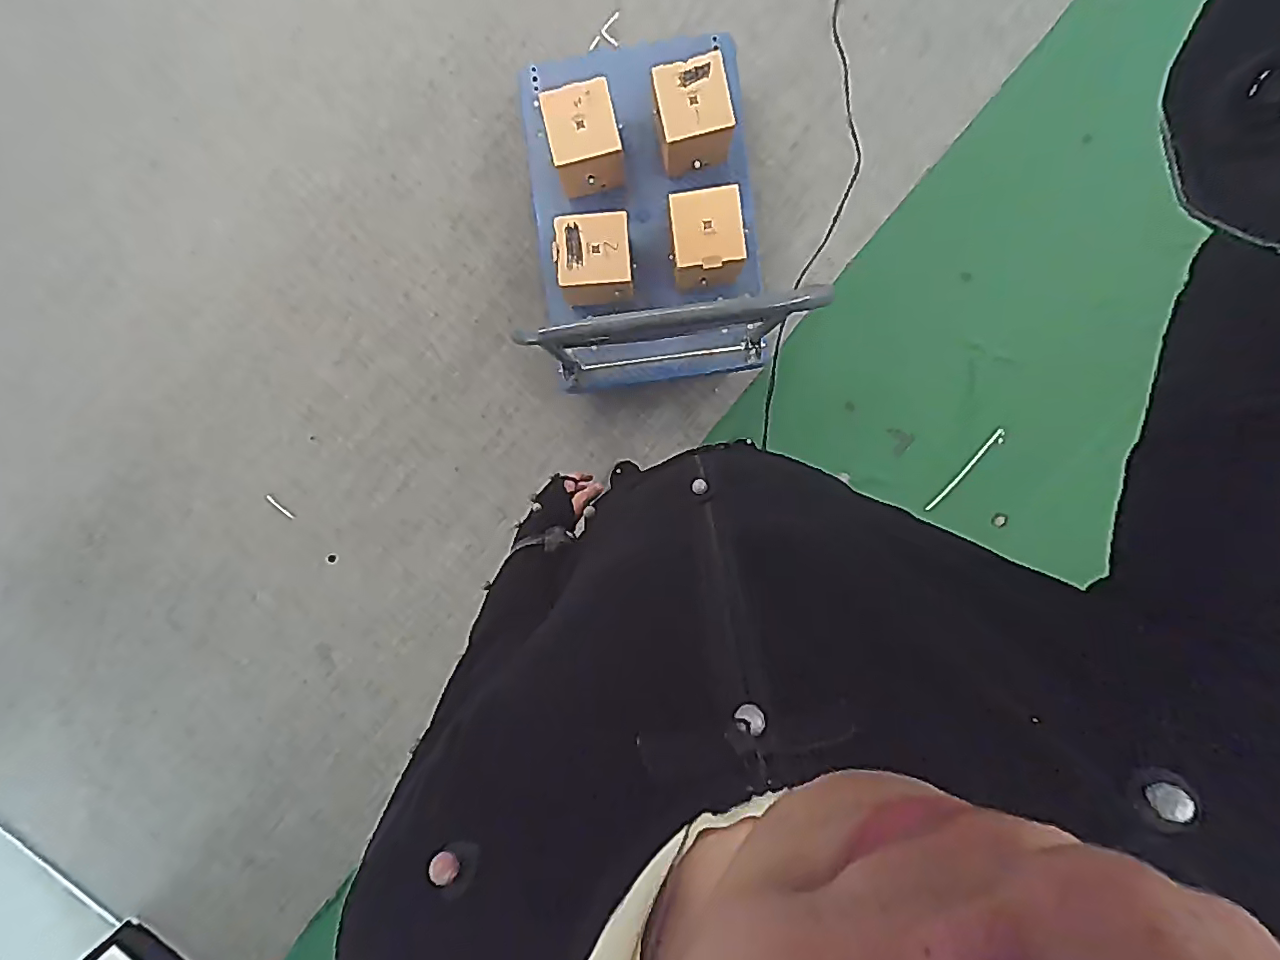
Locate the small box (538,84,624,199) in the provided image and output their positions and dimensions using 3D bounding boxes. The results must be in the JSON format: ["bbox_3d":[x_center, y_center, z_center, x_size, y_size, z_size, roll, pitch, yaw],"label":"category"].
[{"bbox_3d":[-0.139,-0.826,1.344,0.168,0.176,0.179,-13,92,2],"label":"small box"}]

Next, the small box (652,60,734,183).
[{"bbox_3d":[0.125,-0.874,1.332,0.168,0.176,0.179,-12,93,3],"label":"small box"}]

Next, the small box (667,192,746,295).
[{"bbox_3d":[0.159,-0.581,1.345,0.168,0.176,0.179,-7,93,2],"label":"small box"}]
